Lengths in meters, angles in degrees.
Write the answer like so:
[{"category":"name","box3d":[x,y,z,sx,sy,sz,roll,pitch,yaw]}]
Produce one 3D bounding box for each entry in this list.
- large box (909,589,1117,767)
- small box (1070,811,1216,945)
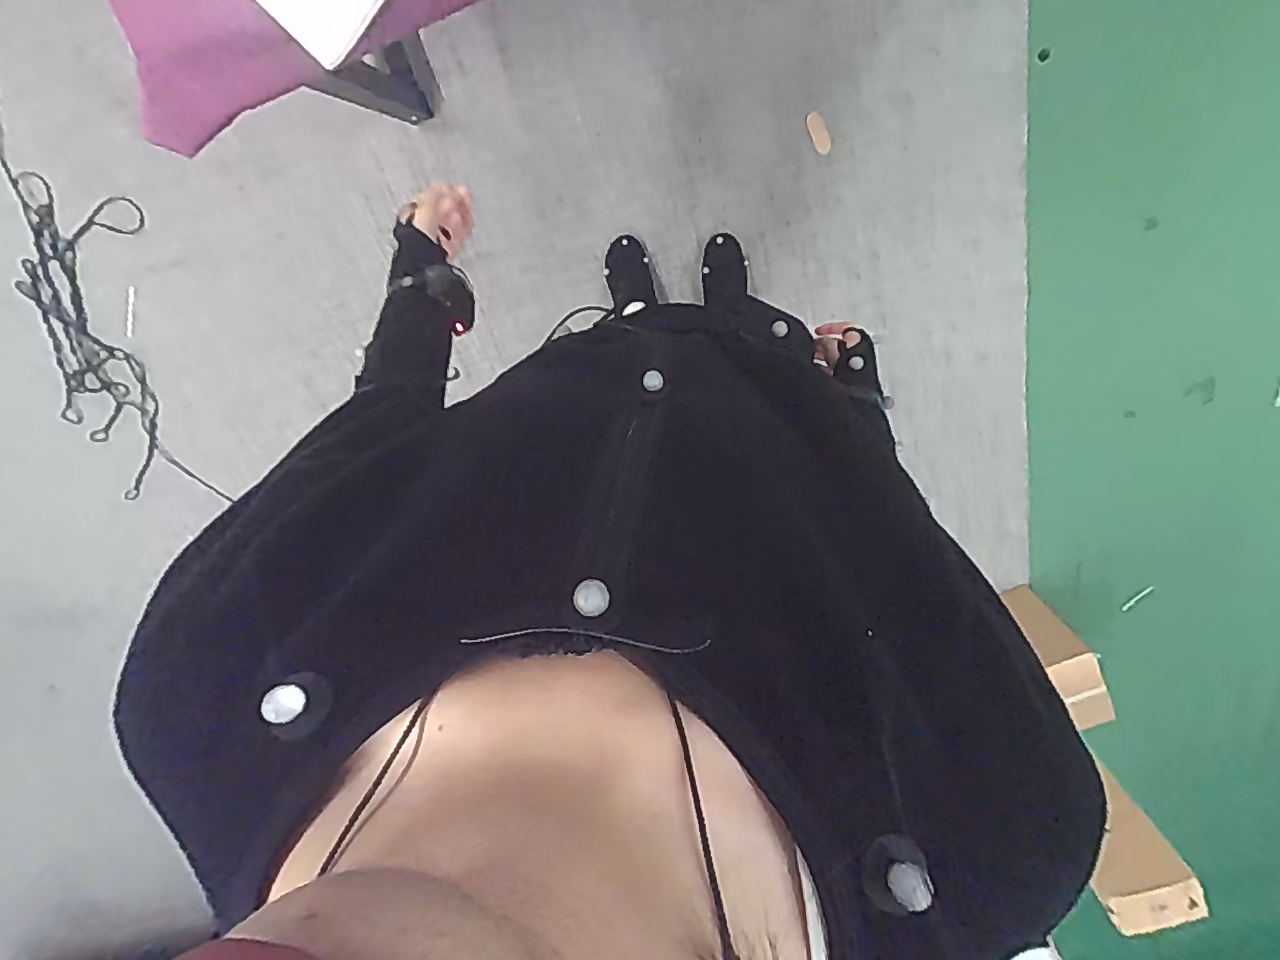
[{"category":"large box","box3d":[1.159,0.621,1.716,0.408,0.320,0.320,-29,113,13]},{"category":"small box","box3d":[1.109,0.884,1.209,0.179,0.176,0.168,-28,112,15]}]
